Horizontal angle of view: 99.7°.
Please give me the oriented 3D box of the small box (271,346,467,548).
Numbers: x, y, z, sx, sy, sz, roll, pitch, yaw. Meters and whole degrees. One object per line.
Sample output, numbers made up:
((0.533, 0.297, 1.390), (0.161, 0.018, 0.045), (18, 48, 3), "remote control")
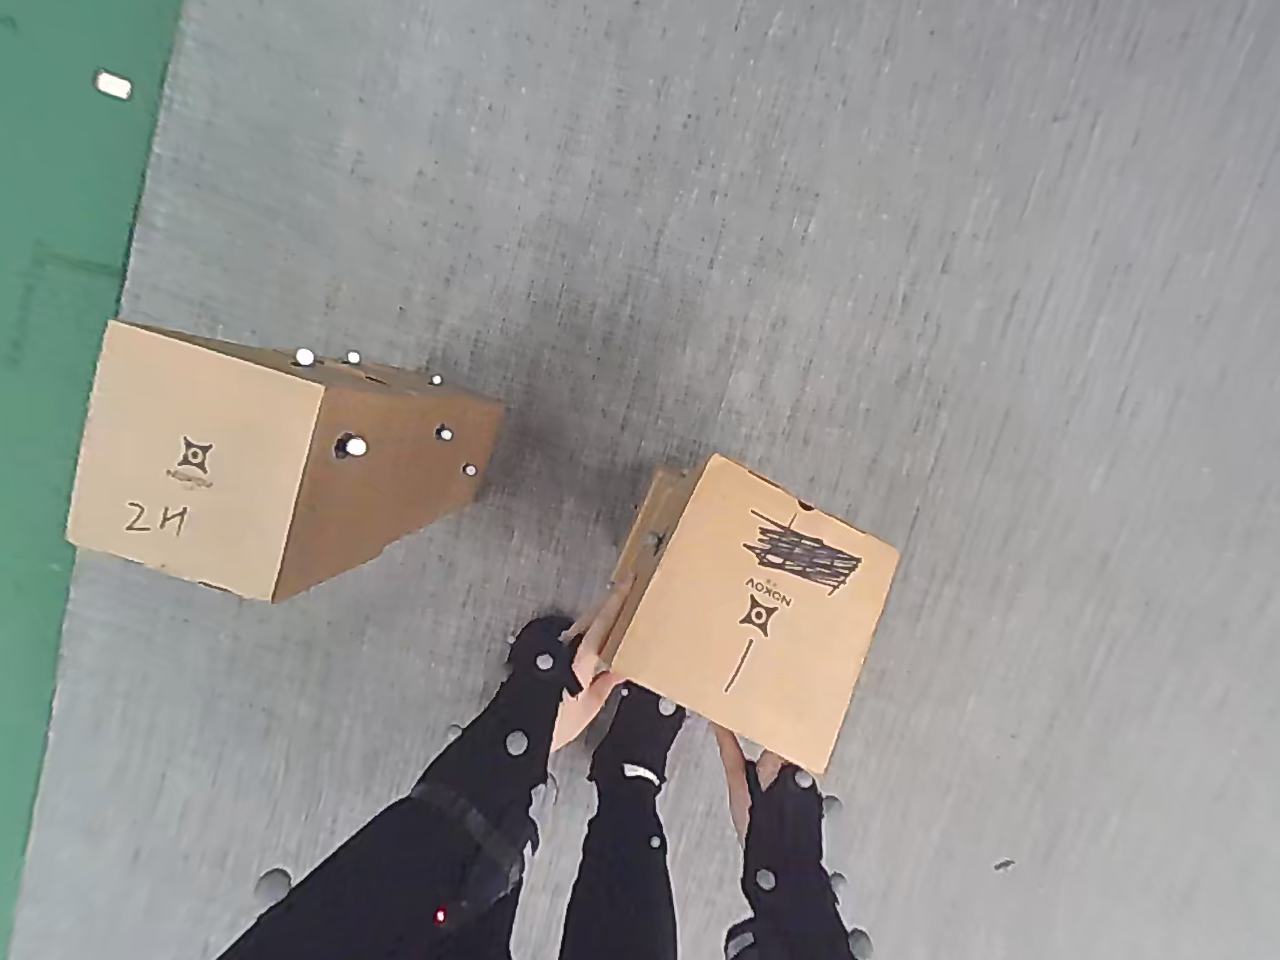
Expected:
((-0.324, -0.042, 0.643), (0.168, 0.176, 0.179), (17, 97, 0), "small box")

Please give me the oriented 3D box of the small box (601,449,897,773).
((0.075, 0.104, 0.460), (0.168, 0.176, 0.179), (27, 75, -1), "small box")

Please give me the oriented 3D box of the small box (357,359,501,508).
((-0.324, -0.061, 0.804), (0.168, 0.176, 0.179), (20, 97, -1), "small box")

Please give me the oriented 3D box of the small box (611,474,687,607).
((0.069, 0.104, 0.652), (0.168, 0.176, 0.179), (23, 96, -2), "small box")

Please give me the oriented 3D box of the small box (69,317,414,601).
((-0.326, -0.021, 0.480), (0.168, 0.176, 0.179), (17, 96, 1), "small box")
